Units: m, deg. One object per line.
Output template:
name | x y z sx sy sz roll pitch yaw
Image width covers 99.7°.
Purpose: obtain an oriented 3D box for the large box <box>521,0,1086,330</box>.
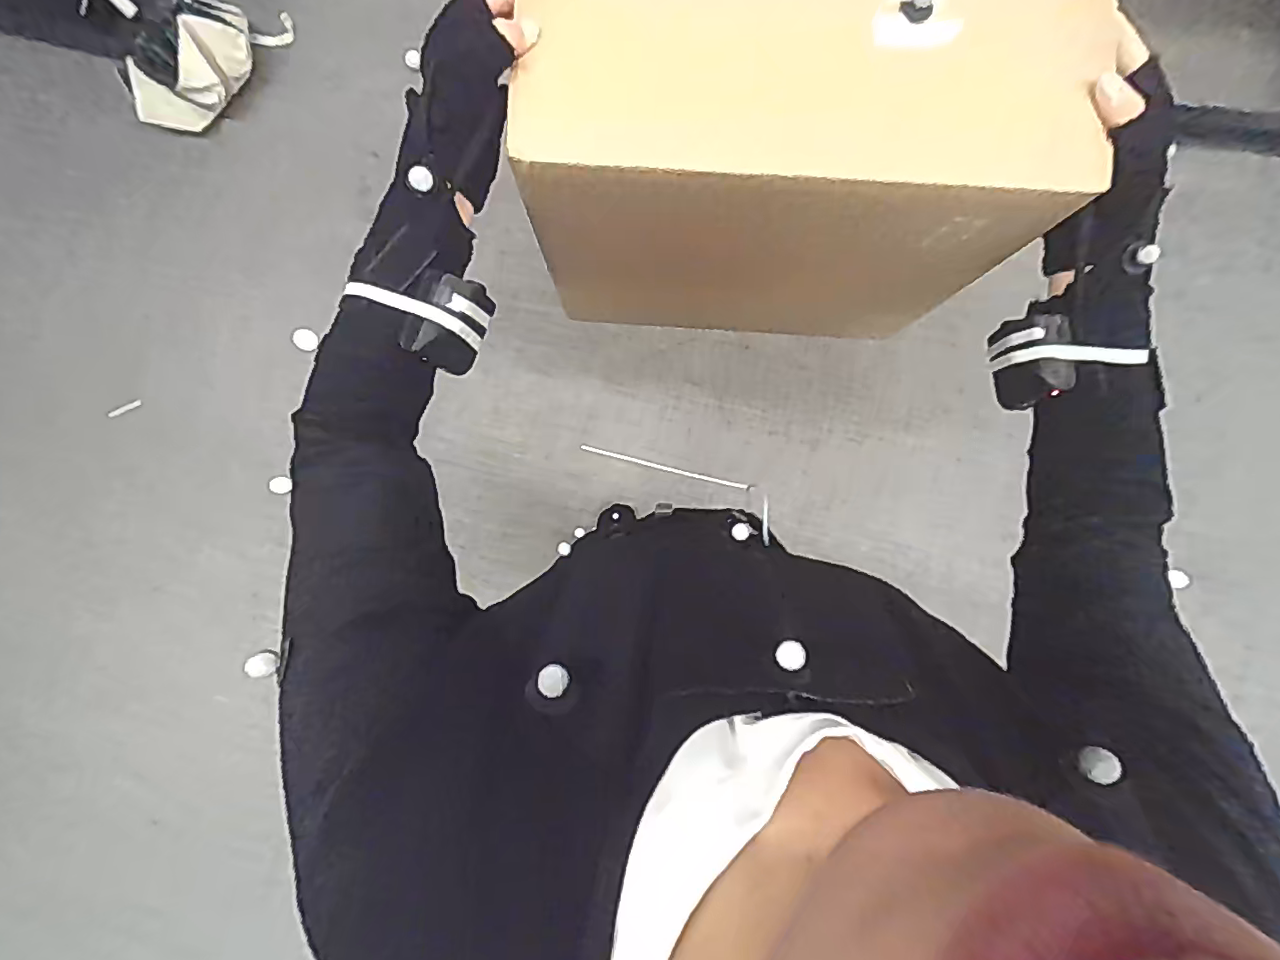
large box | 0.114 -0.352 0.533 0.408 0.320 0.320 2 87 -1
